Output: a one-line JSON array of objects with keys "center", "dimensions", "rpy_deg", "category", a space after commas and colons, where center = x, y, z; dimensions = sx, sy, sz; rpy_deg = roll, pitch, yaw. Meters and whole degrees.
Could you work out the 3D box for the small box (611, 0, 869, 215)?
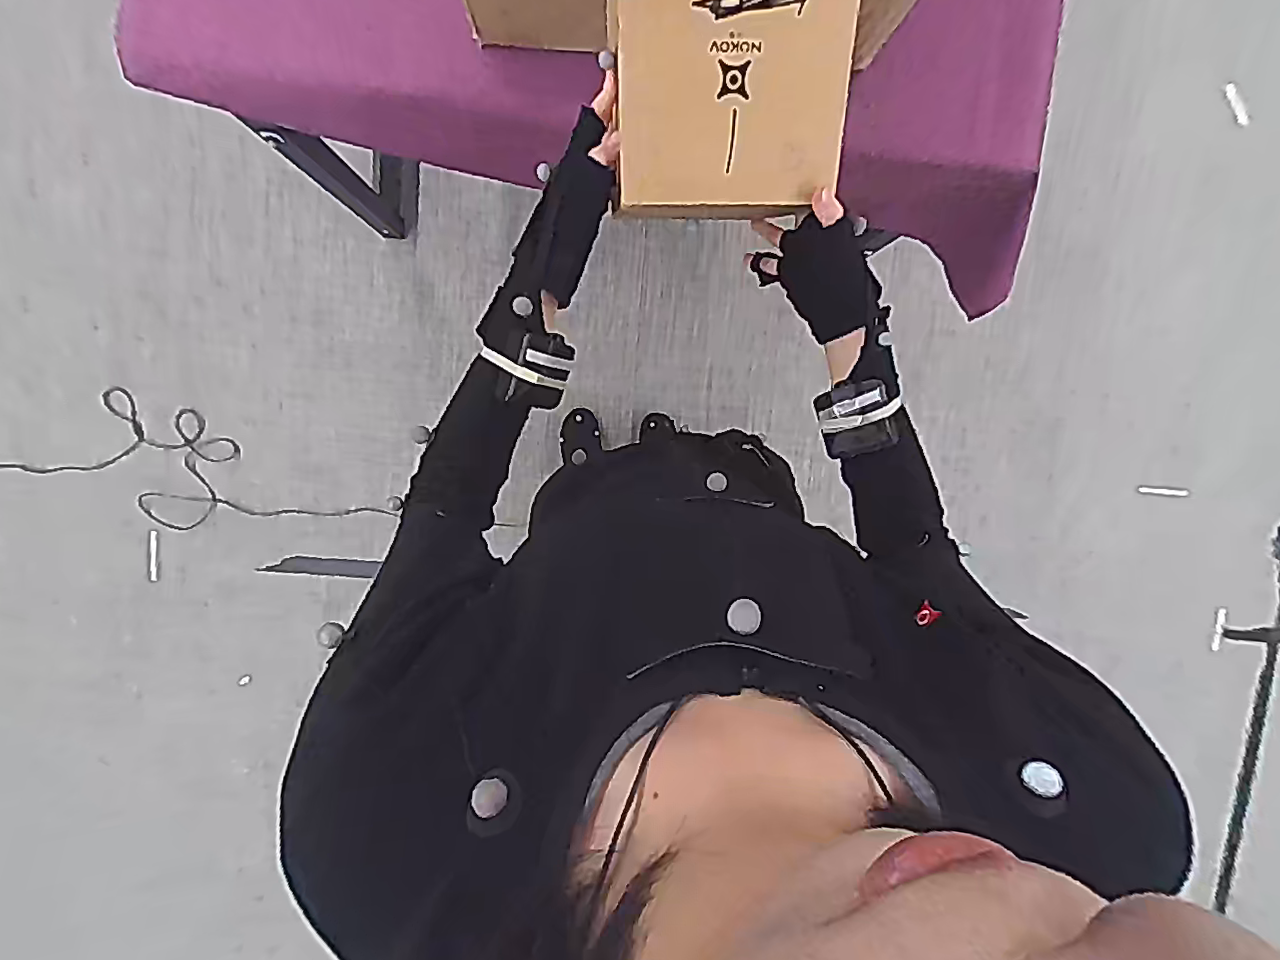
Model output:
[{"center": [0.063, -0.320, 0.440], "dimensions": [0.168, 0.176, 0.179], "rpy_deg": [-2, 113, -5], "category": "small box"}]
